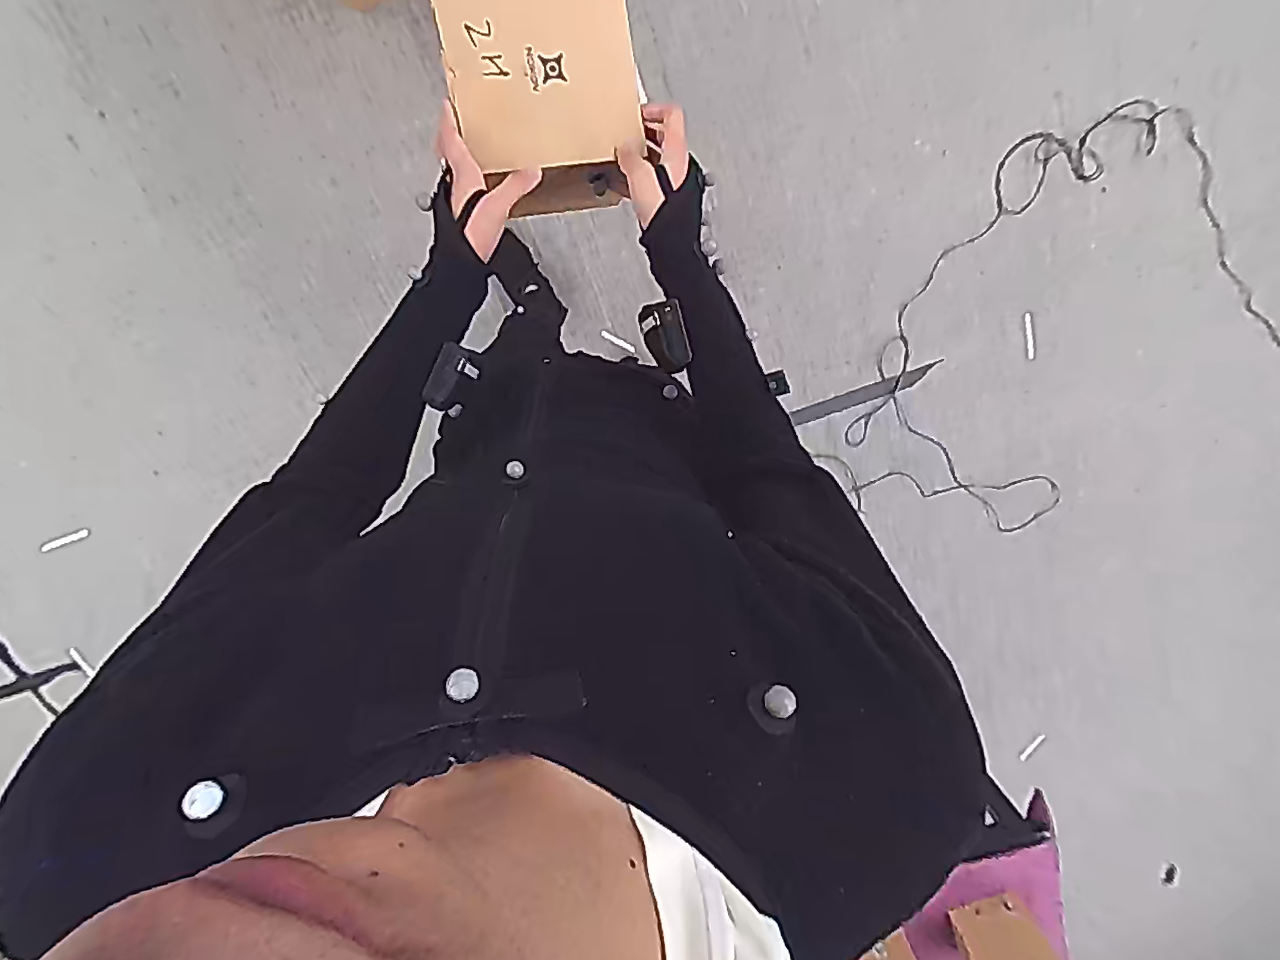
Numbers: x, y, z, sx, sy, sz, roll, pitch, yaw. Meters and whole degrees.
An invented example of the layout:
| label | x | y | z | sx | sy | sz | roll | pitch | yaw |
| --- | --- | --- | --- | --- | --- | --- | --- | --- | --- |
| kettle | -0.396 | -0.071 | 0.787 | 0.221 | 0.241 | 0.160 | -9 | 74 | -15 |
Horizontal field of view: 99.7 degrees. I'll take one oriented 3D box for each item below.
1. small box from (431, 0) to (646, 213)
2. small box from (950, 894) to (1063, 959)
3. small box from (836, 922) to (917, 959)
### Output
| label | x | y | z | sx | sy | sz | roll | pitch | yaw |
| --- | --- | --- | --- | --- | --- | --- | --- | --- | --- |
| small box | -0.105 | -0.395 | 0.567 | 0.179 | 0.176 | 0.168 | -11 | 104 | -9 |
| small box | 0.838 | 1.087 | 1.231 | 0.168 | 0.176 | 0.179 | -21 | 111 | 4 |
| small box | 0.580 | 1.178 | 1.247 | 0.168 | 0.176 | 0.179 | -24 | 109 | 4 |
